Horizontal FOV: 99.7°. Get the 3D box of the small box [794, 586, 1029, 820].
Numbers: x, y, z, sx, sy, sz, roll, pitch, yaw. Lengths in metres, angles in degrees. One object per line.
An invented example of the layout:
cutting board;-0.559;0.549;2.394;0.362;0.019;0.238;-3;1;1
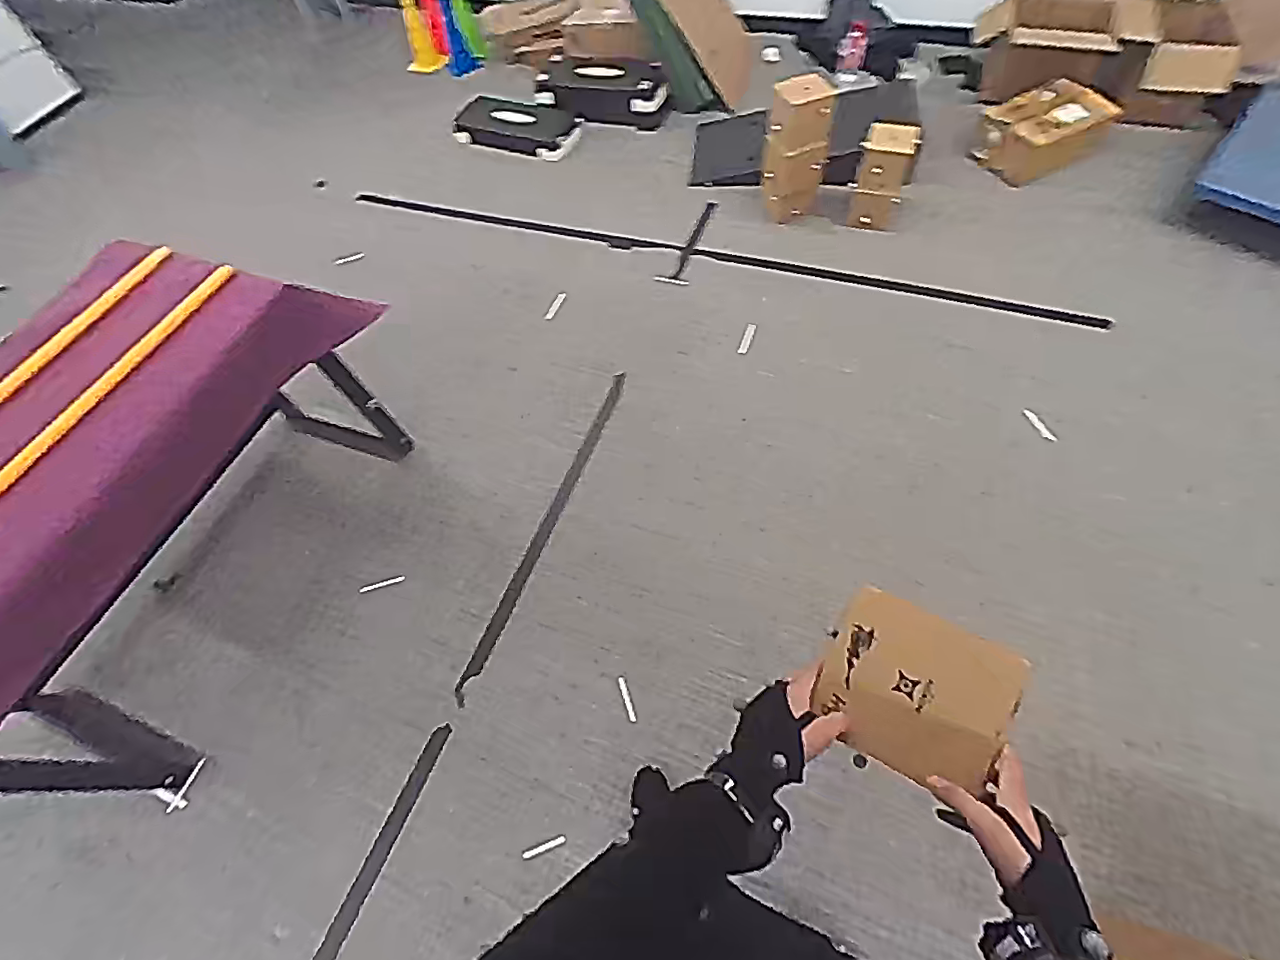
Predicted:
small box;0.294;0.244;0.626;0.179;0.176;0.168;26;78;21
